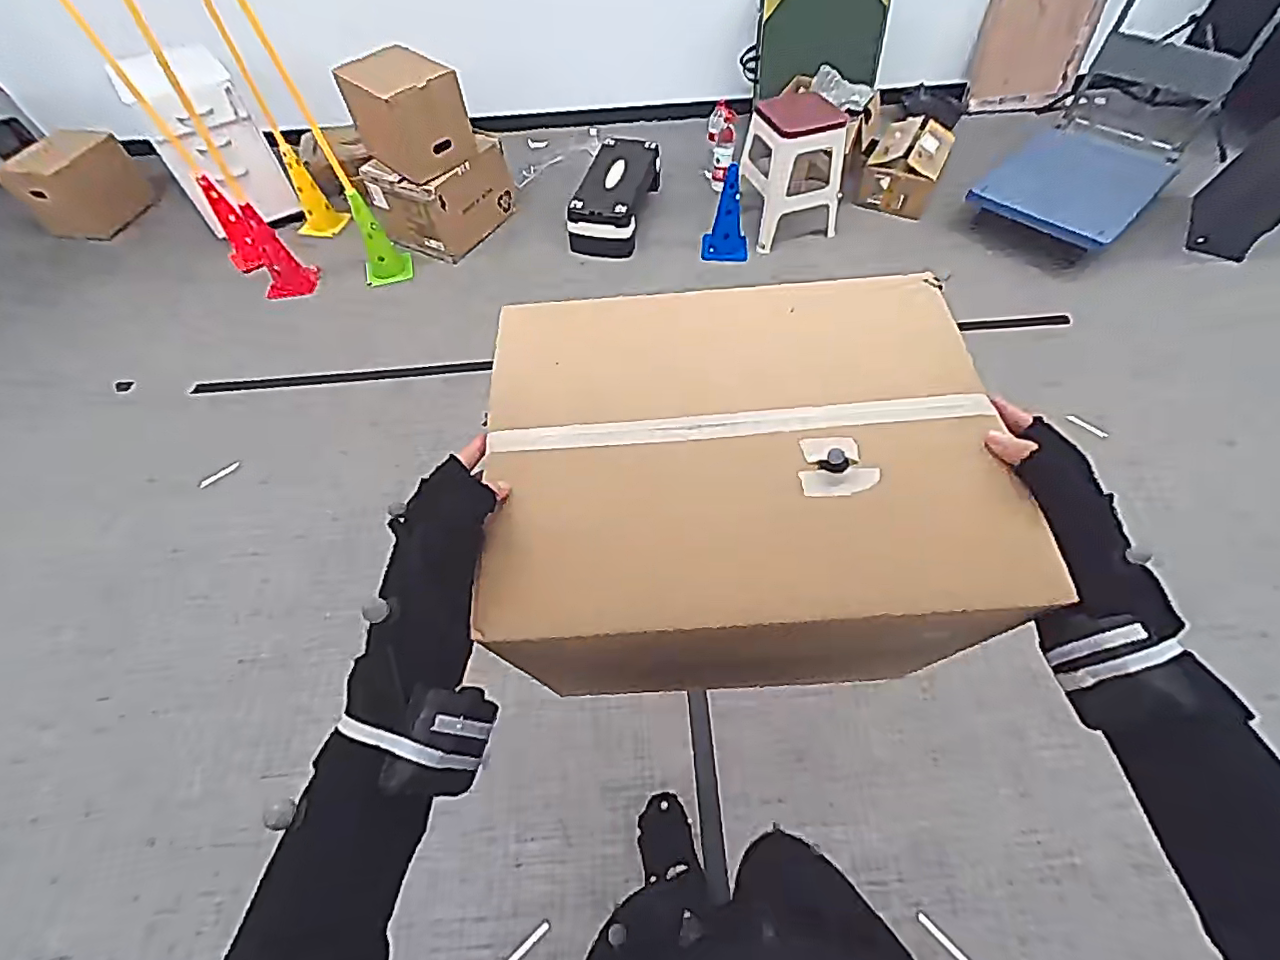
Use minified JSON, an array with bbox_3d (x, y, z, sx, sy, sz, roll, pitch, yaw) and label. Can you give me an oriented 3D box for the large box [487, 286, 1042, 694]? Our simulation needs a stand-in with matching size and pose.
[{"bbox_3d":[0.084,0.032,0.582,0.408,0.320,0.320,-4,61,1],"label":"large box"}]
